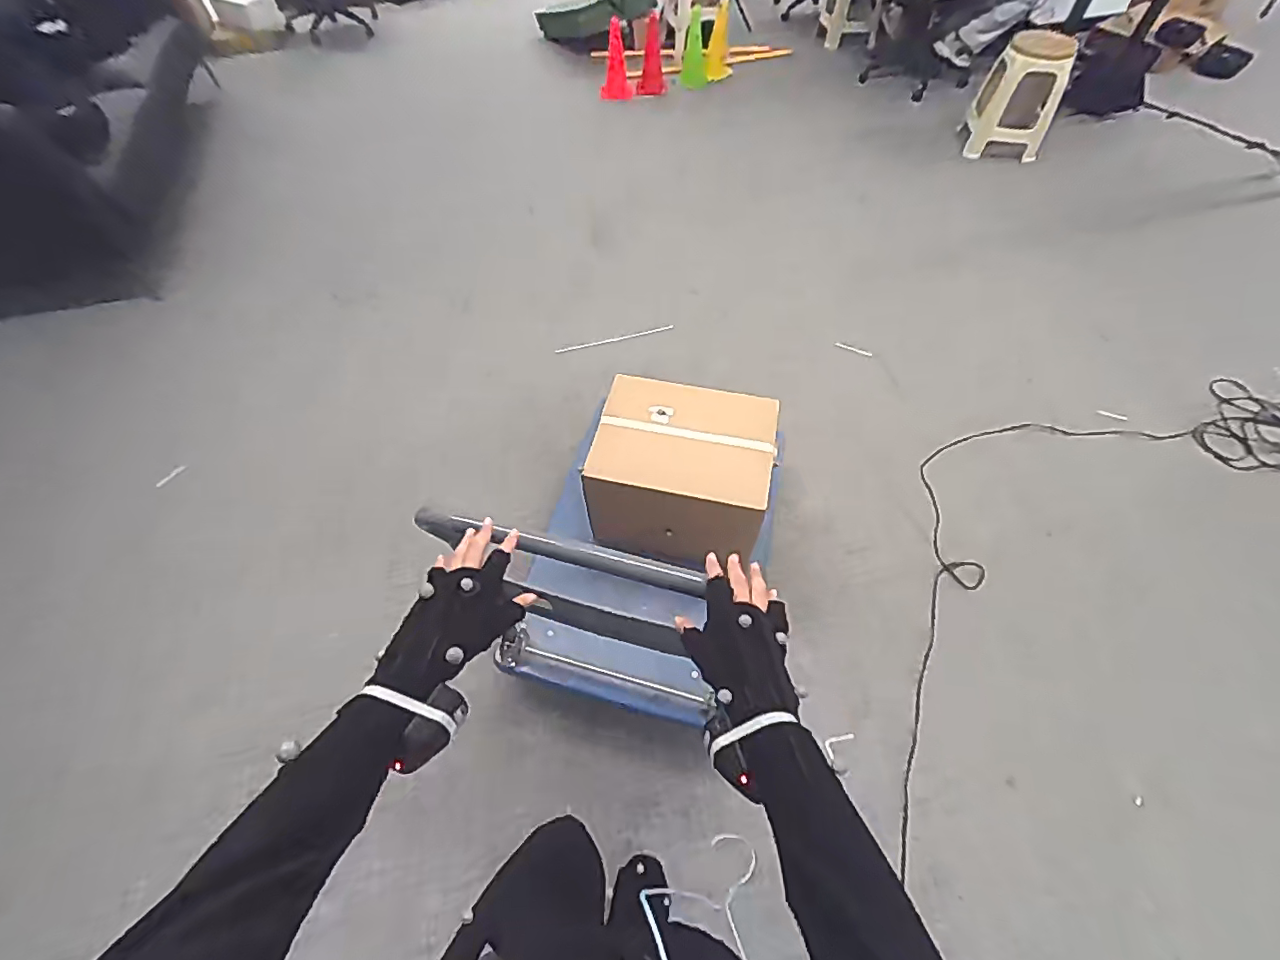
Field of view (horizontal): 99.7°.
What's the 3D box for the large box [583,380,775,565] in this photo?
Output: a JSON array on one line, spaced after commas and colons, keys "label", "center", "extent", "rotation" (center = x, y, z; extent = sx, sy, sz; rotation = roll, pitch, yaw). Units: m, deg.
[{"label": "large box", "center": [0.106, -0.014, 1.359], "extent": [0.408, 0.320, 0.320], "rotation": [10, 57, 9]}]
